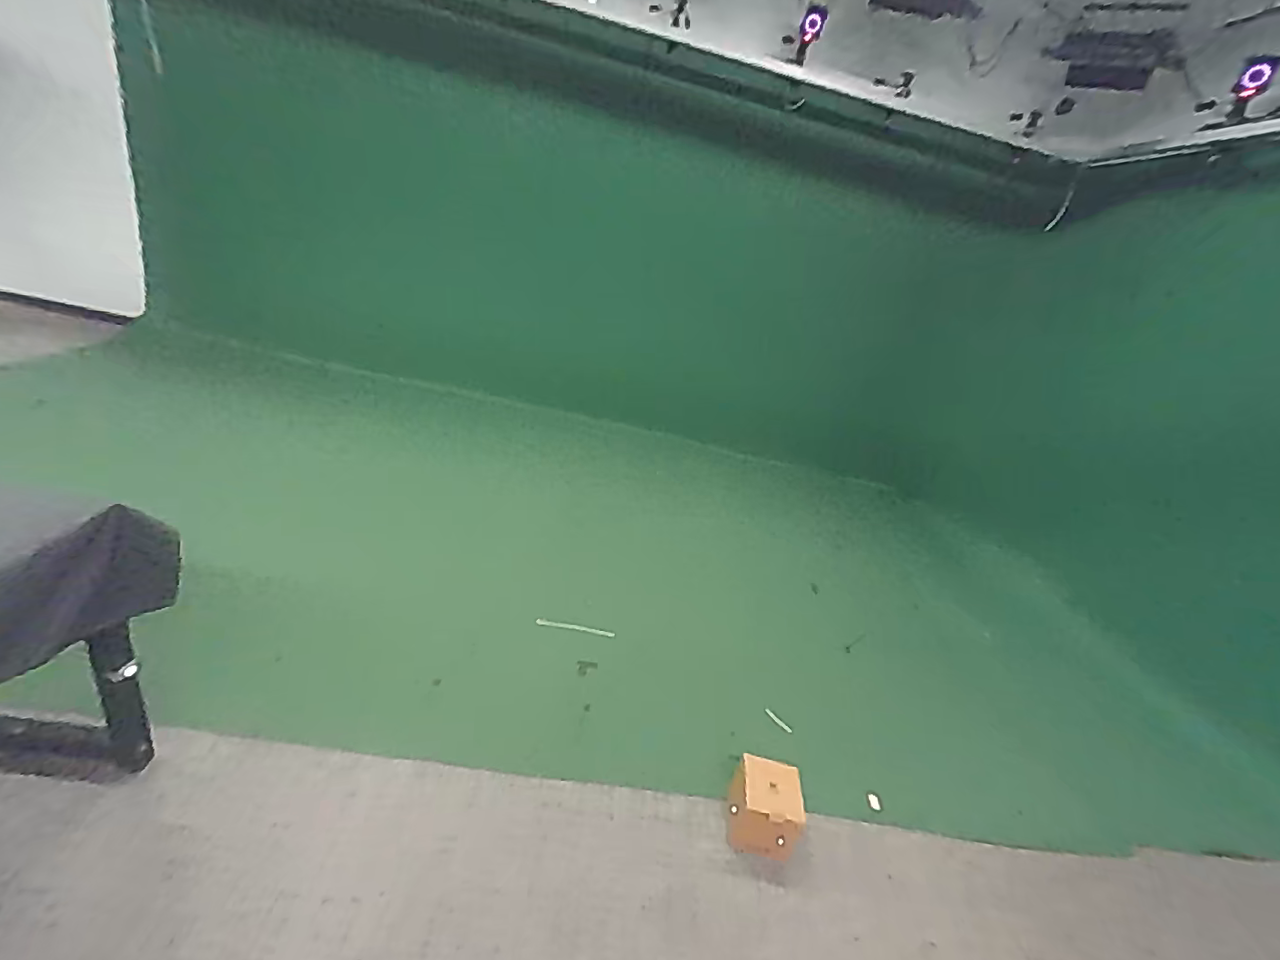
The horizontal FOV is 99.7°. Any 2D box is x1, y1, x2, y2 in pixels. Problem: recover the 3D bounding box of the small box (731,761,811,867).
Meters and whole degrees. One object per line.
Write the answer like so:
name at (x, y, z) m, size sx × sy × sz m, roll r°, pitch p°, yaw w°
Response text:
small box at (0.363, 0.942, 1.524) m, size 0.168 × 0.176 × 0.179 m, roll 16°, pitch 23°, yaw 0°
